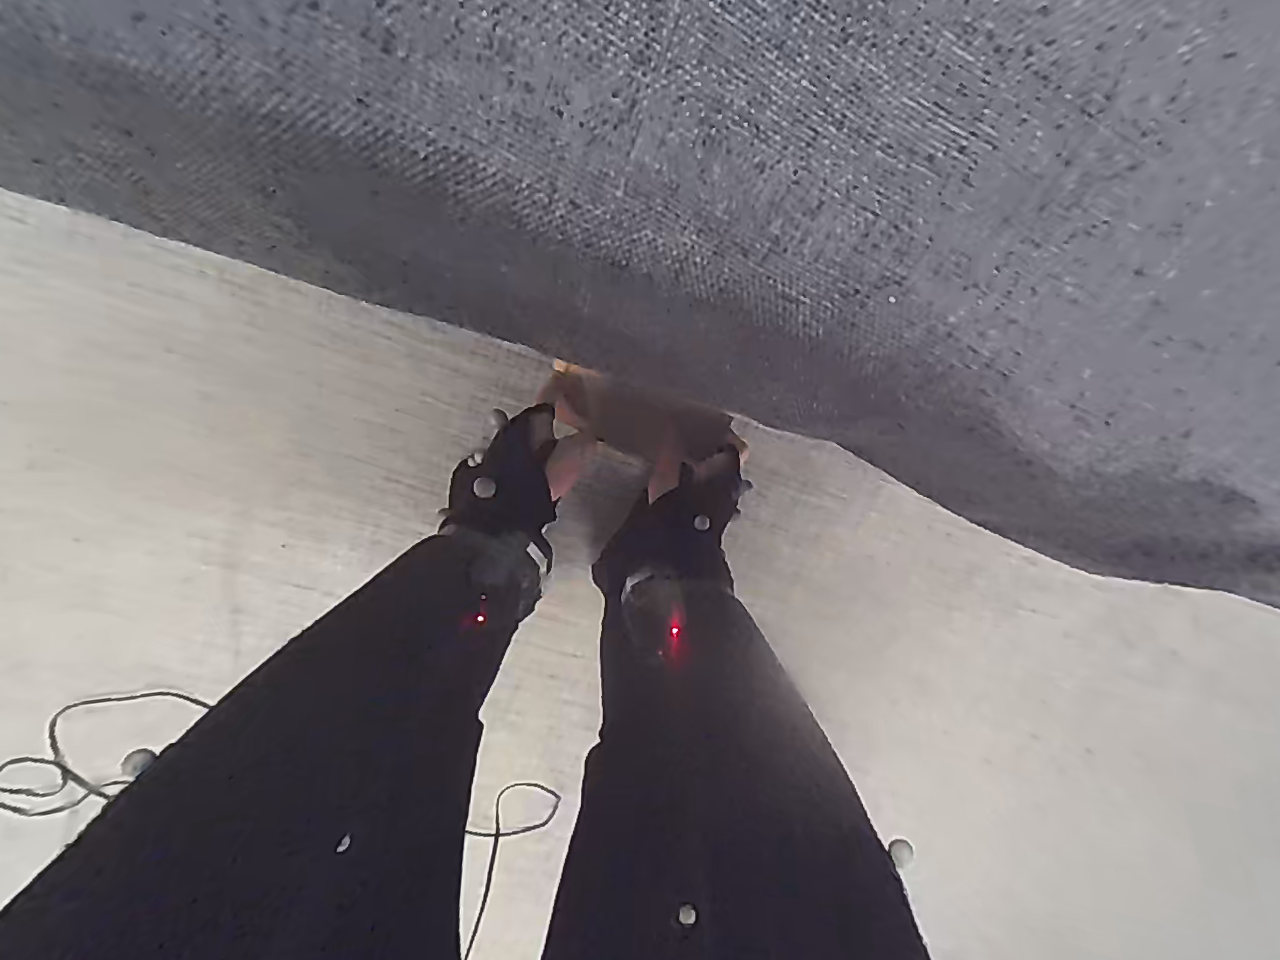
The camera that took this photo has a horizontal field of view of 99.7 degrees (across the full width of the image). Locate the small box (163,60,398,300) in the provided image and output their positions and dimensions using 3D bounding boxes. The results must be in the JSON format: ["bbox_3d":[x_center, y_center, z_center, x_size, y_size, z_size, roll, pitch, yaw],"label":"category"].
[{"bbox_3d":[-0.395,-0.326,0.620,0.168,0.176,0.179,16,112,-10],"label":"small box"}]

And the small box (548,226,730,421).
[{"bbox_3d":[-0.008,-0.205,0.706,0.168,0.176,0.179,21,108,-14],"label":"small box"}]
